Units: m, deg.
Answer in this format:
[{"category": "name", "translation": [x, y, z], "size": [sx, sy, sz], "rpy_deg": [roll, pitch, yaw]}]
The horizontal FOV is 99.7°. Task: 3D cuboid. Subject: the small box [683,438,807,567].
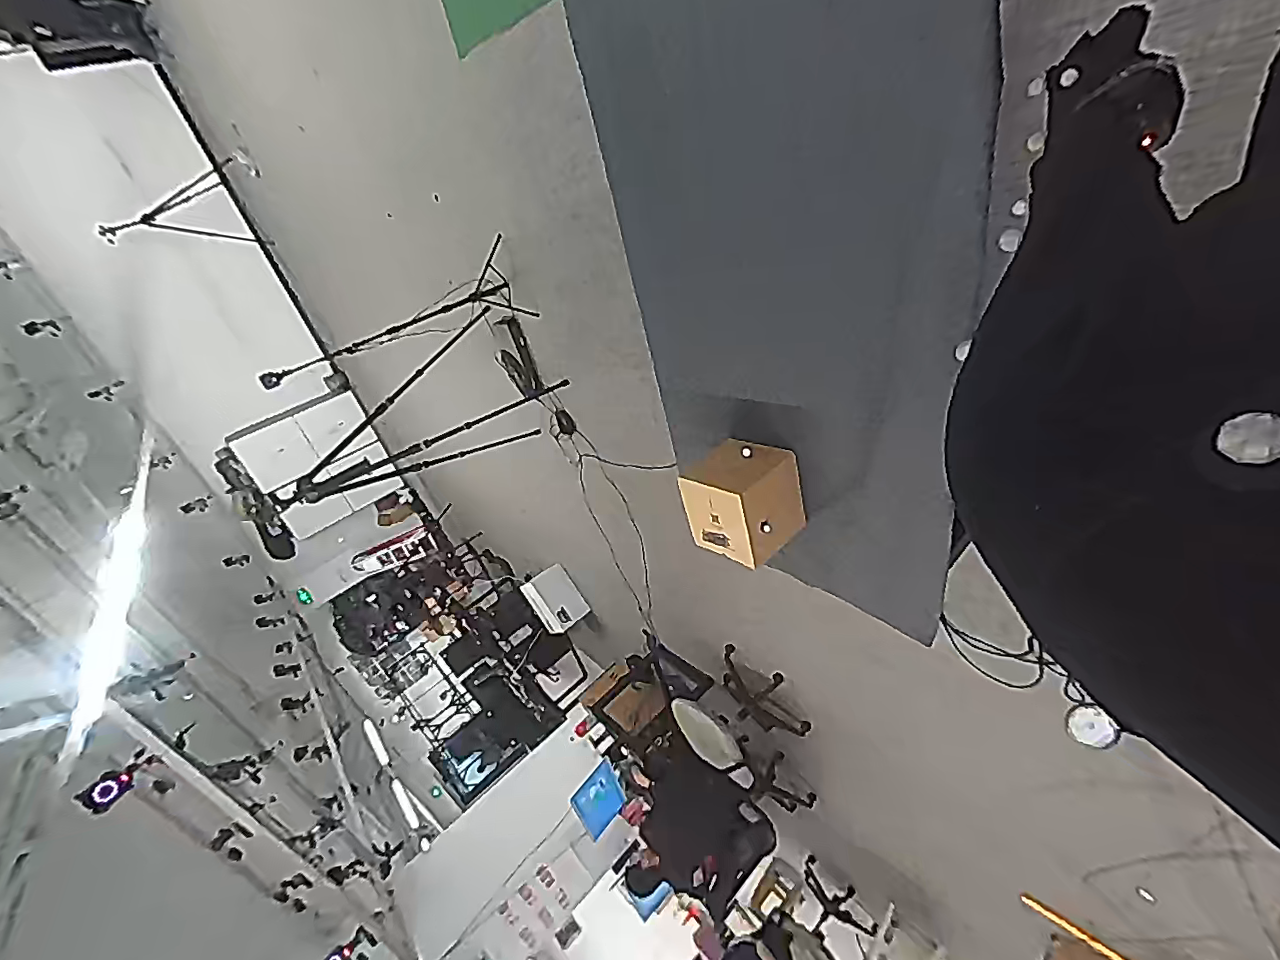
[{"category": "small box", "translation": [0.218, 0.040, 1.093], "size": [0.168, 0.176, 0.179], "rpy_deg": [18, 134, 48]}]
